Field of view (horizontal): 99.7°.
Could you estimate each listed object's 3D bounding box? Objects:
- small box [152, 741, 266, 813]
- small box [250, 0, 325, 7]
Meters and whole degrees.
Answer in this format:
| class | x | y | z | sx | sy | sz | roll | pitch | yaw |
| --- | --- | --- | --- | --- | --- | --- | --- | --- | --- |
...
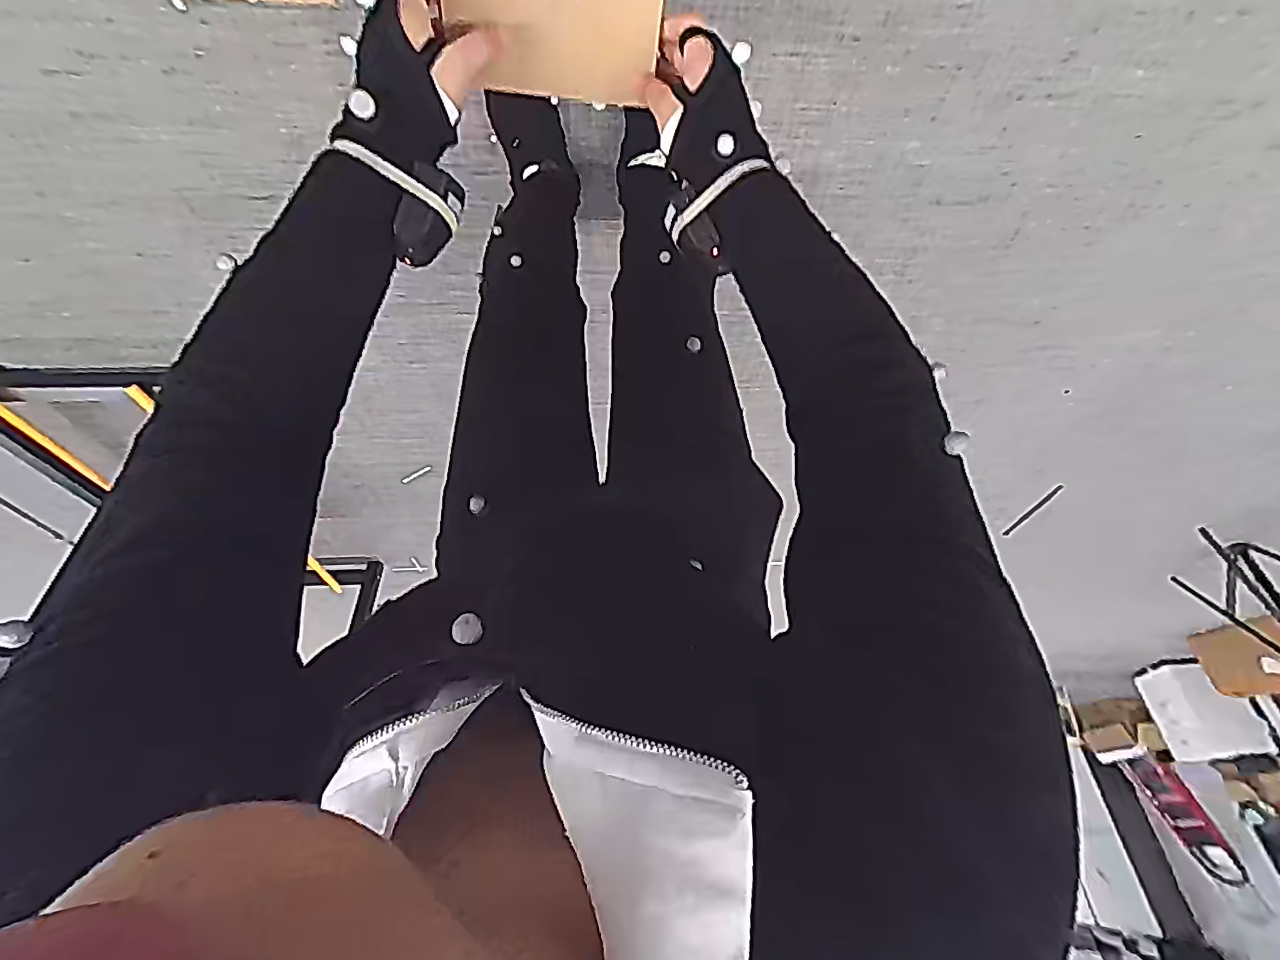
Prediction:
| class | x | y | z | sx | sy | sz | roll | pitch | yaw |
| --- | --- | --- | --- | --- | --- | --- | --- | --- | --- |
| small box | -1.245 | 0.869 | 1.579 | 0.179 | 0.176 | 0.168 | -1 | 146 | -3 |
| small box | -0.387 | -0.579 | 0.505 | 0.179 | 0.176 | 0.168 | 0 | 145 | -5 |
